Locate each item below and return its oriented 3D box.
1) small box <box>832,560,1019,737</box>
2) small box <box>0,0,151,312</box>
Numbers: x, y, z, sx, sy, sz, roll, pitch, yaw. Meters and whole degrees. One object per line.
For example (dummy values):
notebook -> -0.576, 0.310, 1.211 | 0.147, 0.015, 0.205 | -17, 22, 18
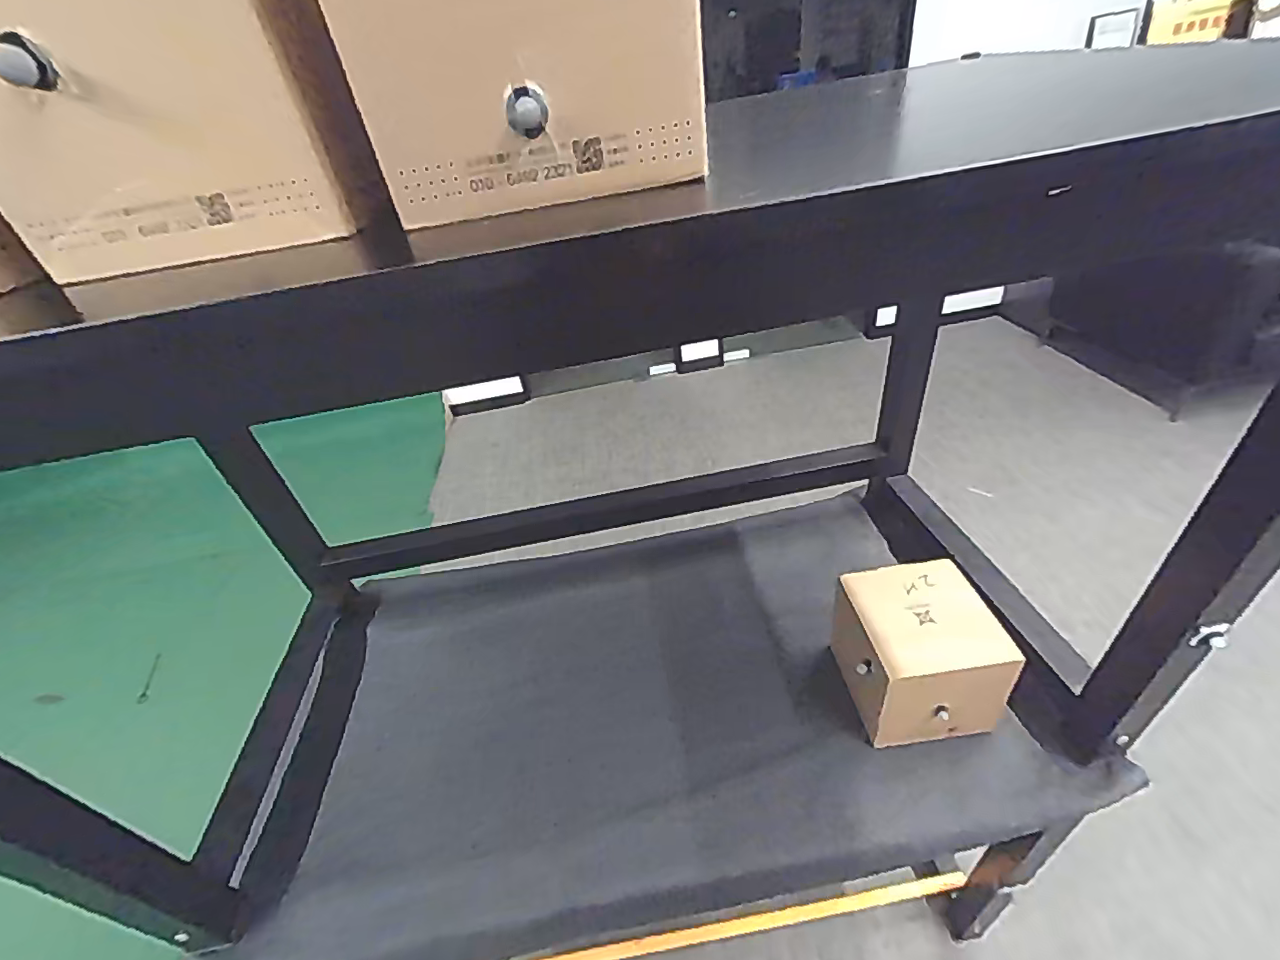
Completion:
small box -> 0.384, 0.242, 0.765 | 0.168, 0.176, 0.179 | -8, 36, 1
small box -> -0.448, -0.192, 0.311 | 0.168, 0.176, 0.179 | -10, 38, 0
